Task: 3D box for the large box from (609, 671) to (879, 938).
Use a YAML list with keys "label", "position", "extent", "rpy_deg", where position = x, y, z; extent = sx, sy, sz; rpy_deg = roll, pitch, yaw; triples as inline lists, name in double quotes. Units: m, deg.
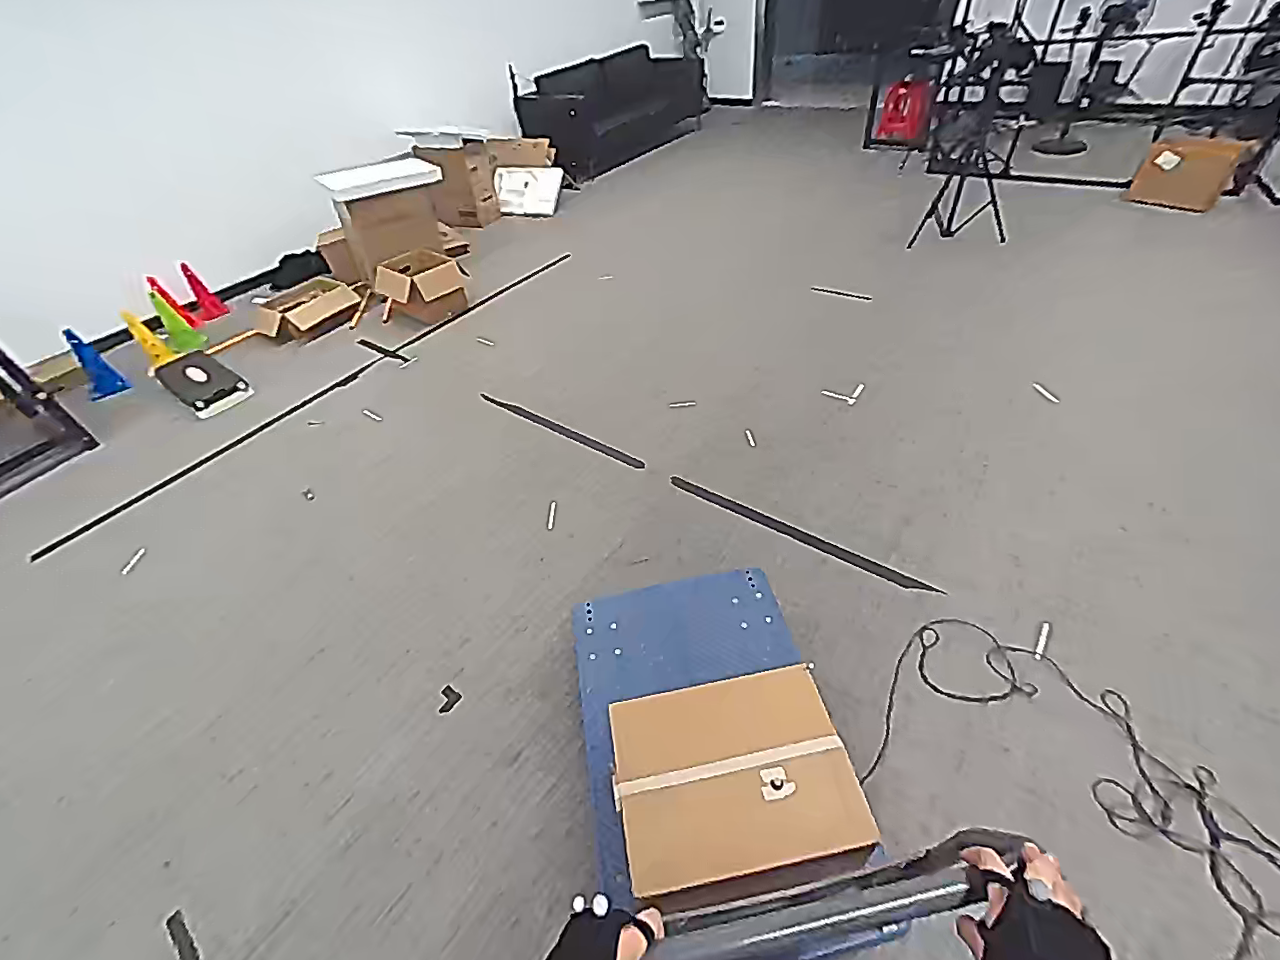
- label: "large box"
  position: [0.172, 0.626, 1.049]
  extent: [0.408, 0.320, 0.320]
  rpy_deg: [-10, 44, -4]
